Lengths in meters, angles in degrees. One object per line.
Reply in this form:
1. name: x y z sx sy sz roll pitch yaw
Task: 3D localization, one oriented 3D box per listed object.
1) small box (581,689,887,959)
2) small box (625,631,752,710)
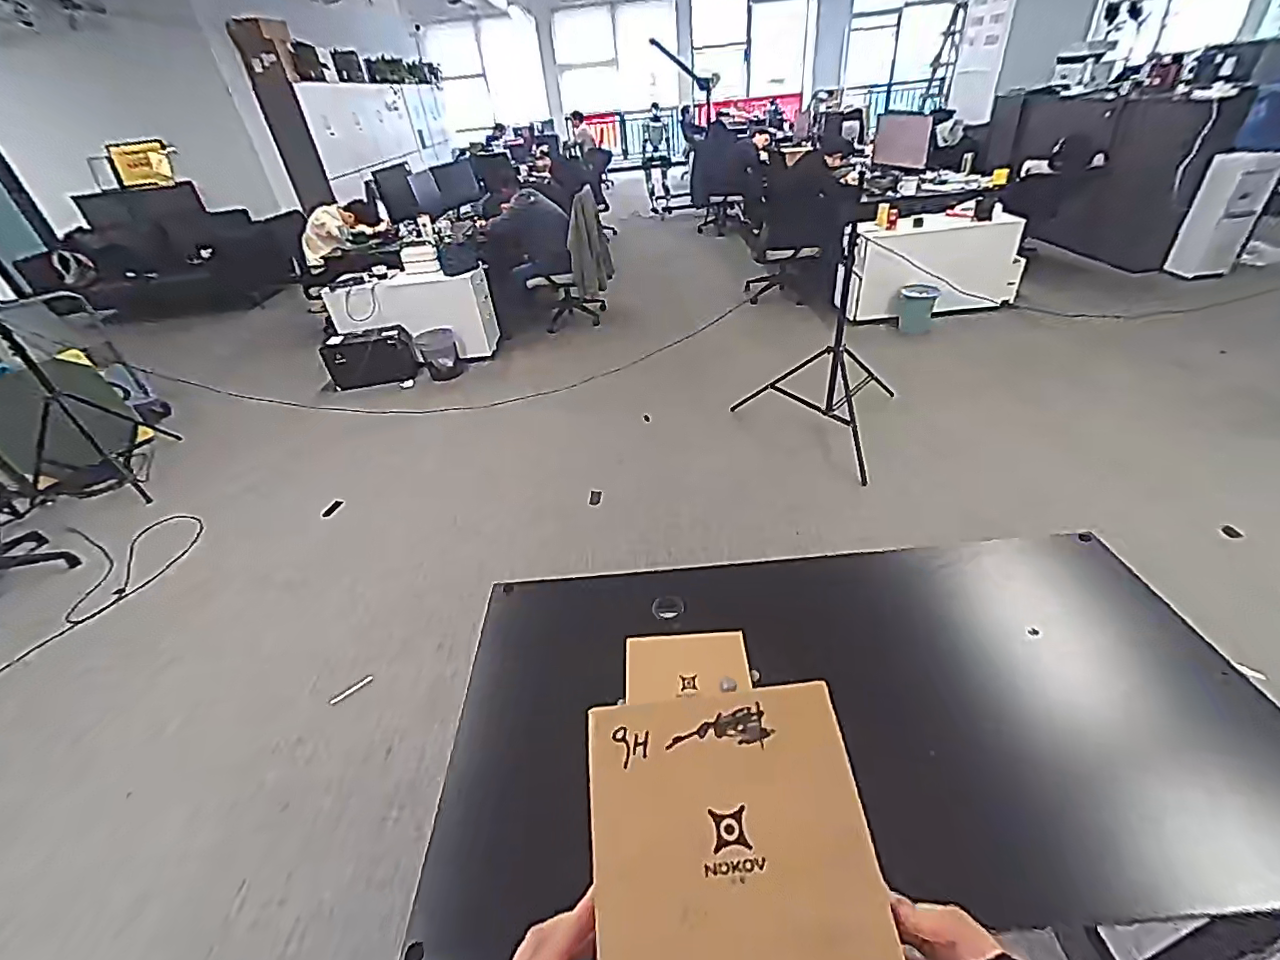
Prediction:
1. small box: 0.055 0.266 0.388 0.168 0.176 0.179 -7 56 1
2. small box: 0.069 0.335 0.751 0.168 0.176 0.179 -5 36 3
